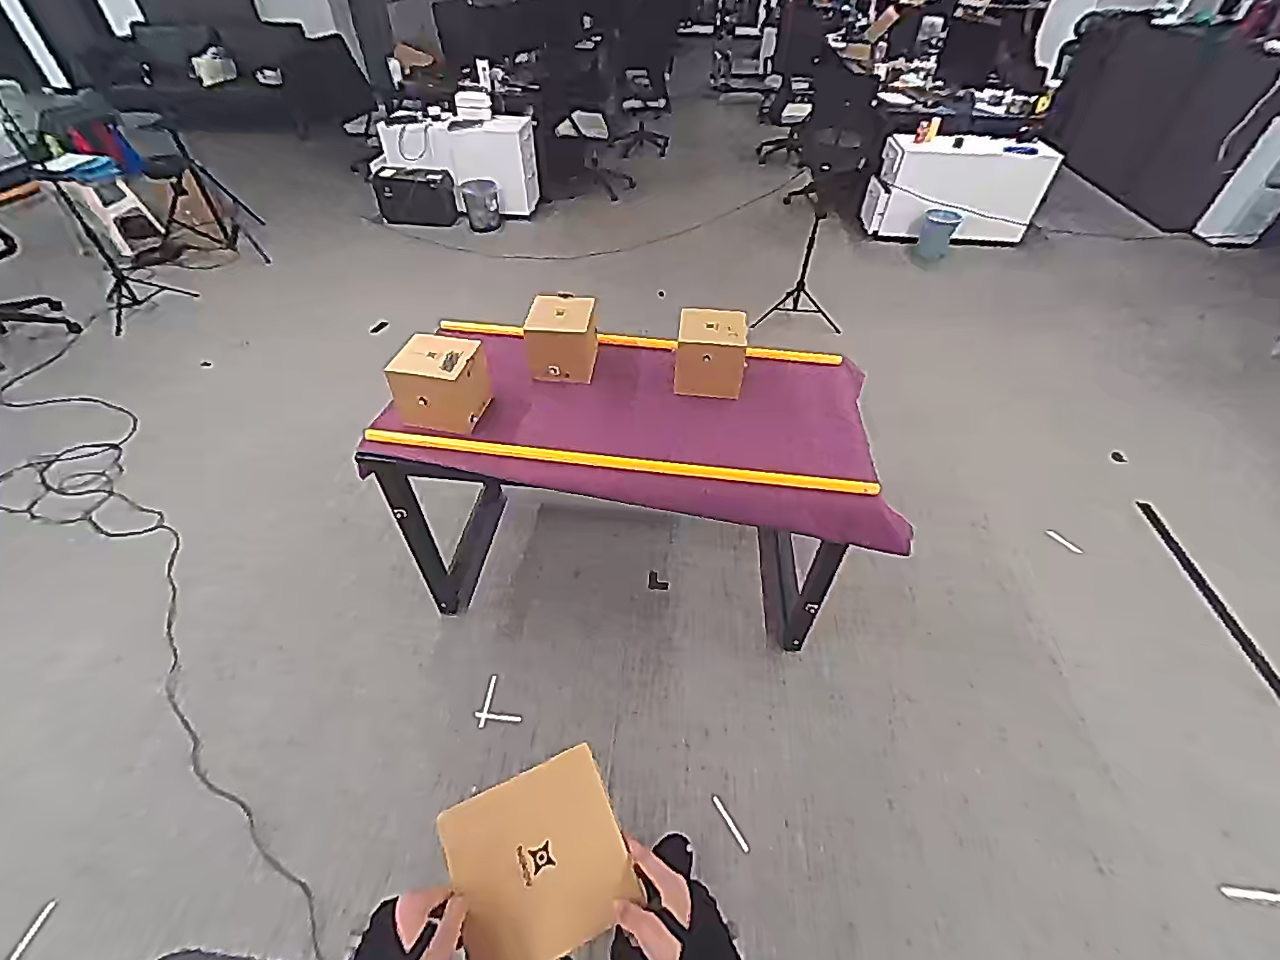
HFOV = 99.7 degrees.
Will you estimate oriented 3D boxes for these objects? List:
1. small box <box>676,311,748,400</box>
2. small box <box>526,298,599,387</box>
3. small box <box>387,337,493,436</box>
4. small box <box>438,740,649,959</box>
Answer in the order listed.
[{"bbox_3d":[0.191,-0.332,1.450,0.179,0.176,0.168,6,47,4],"label":"small box"},{"bbox_3d":[-0.206,-0.379,1.488,0.168,0.176,0.179,3,47,3],"label":"small box"},{"bbox_3d":[-0.480,-0.228,1.333,0.179,0.176,0.168,9,47,6],"label":"small box"},{"bbox_3d":[-0.103,0.426,0.617,0.179,0.176,0.168,-22,59,-13],"label":"small box"}]
